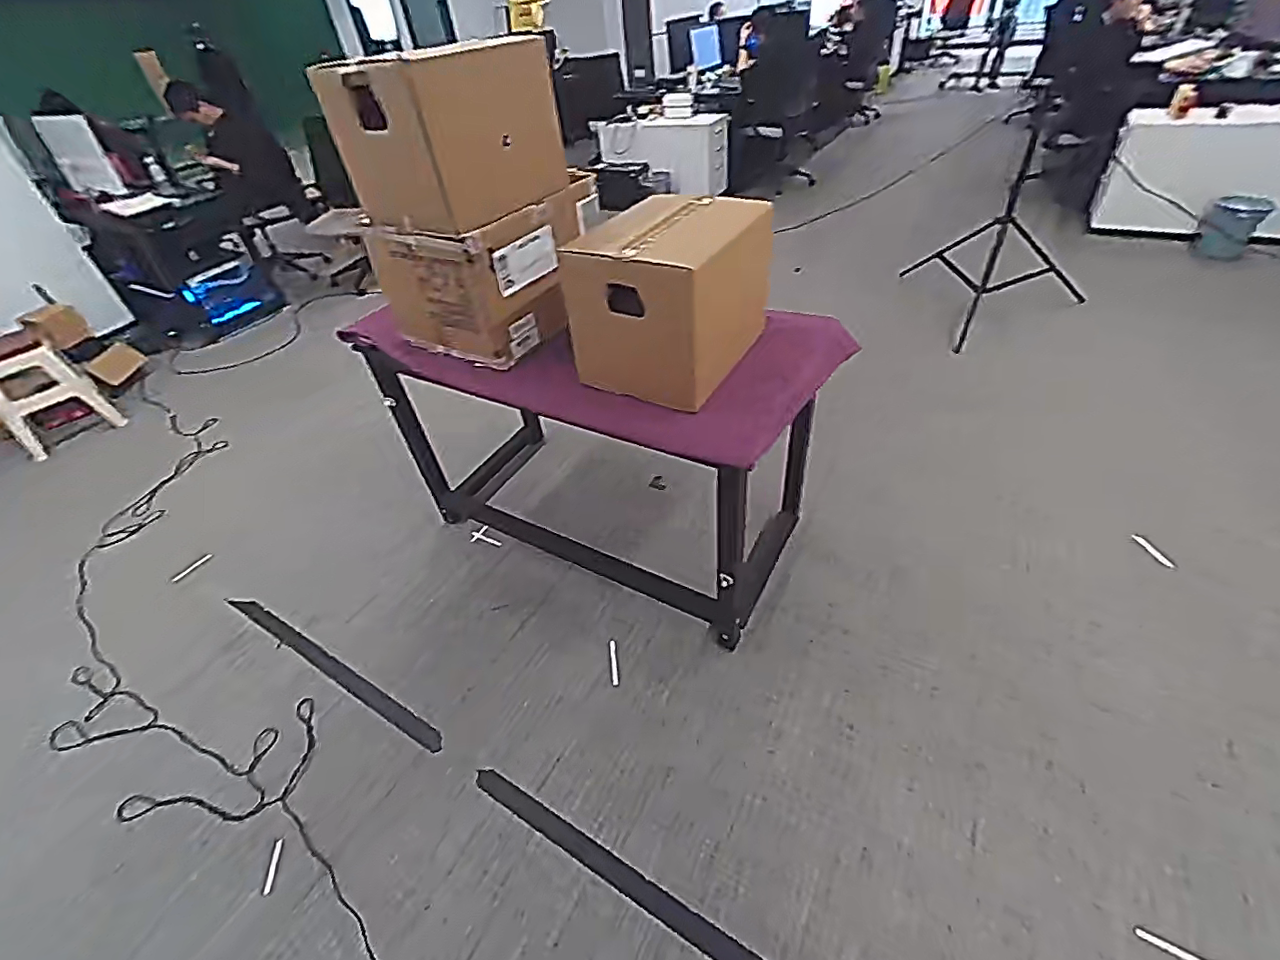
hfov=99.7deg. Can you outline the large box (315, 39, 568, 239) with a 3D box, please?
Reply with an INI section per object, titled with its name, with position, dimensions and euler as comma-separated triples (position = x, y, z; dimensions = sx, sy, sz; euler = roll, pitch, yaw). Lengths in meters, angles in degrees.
[large box]
position = -0.421, -0.792, 1.253
dimensions = 0.320, 0.320, 0.408
euler = 17, 47, 26
